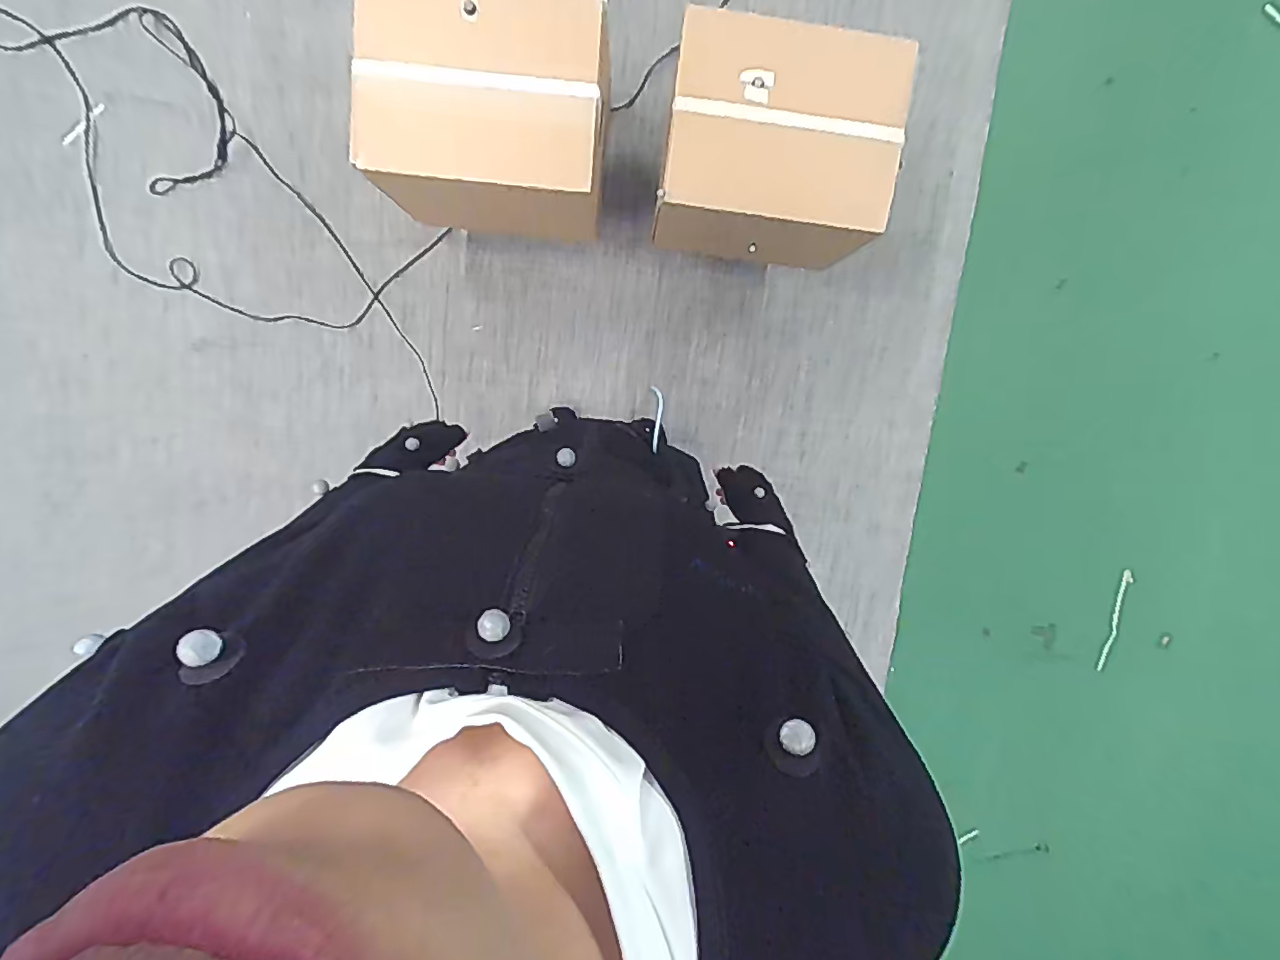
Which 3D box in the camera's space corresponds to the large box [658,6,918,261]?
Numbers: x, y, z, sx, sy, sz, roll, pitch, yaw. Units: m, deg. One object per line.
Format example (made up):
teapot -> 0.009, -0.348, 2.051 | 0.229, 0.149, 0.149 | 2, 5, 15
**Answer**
large box -> 0.260, -0.651, 1.084 | 0.408, 0.320, 0.320 | 7, 99, -3
